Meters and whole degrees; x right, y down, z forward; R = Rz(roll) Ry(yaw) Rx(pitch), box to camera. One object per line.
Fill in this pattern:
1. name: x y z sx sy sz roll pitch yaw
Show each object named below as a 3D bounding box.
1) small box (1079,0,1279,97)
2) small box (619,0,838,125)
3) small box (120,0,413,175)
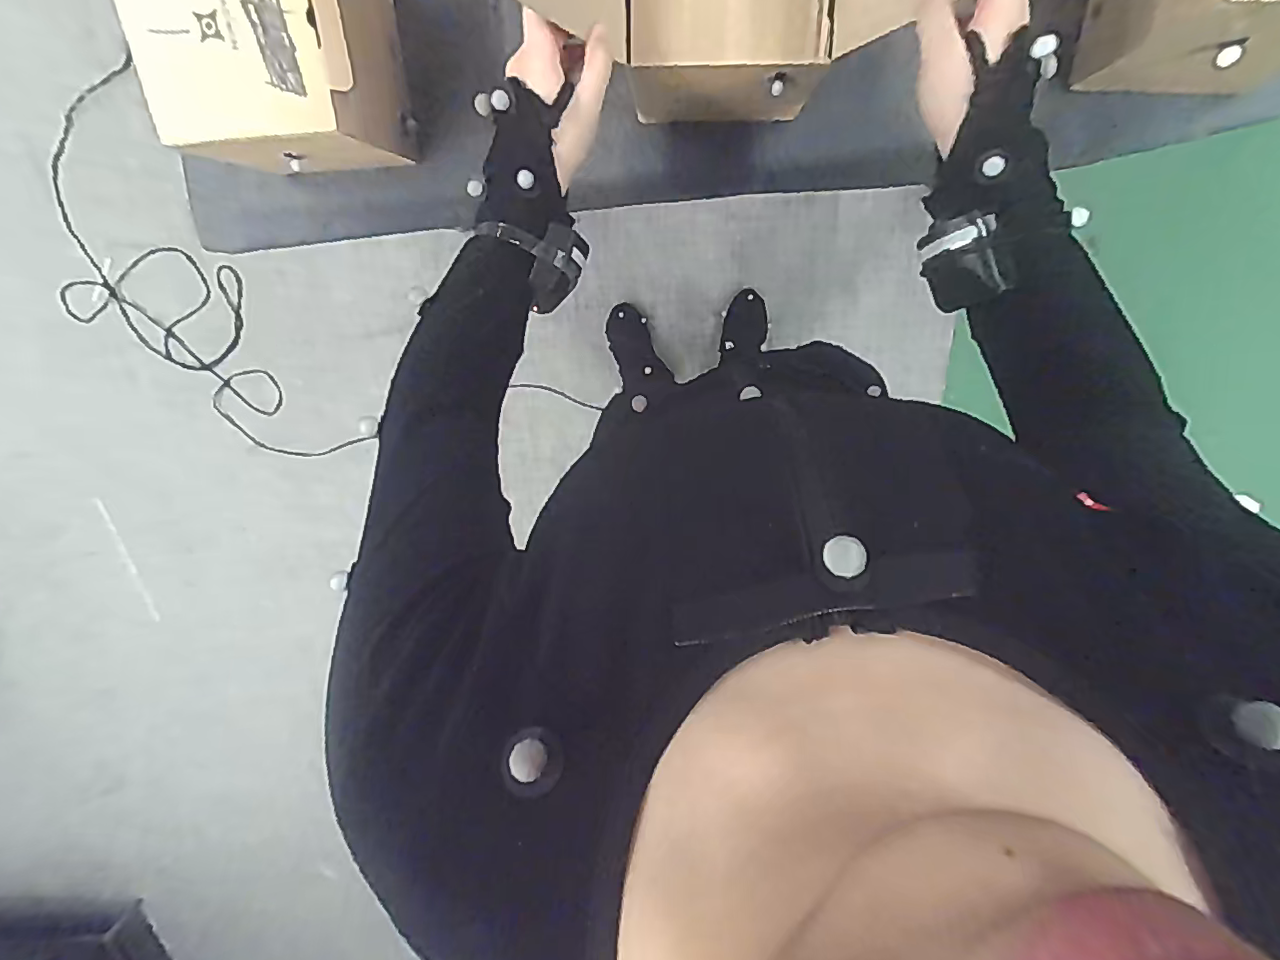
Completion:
1. small box: 0.524 -0.444 0.450 0.179 0.176 0.168 4 107 4
2. small box: 0.077 -0.441 0.493 0.179 0.176 0.168 1 110 4
3. small box: -0.347 -0.411 0.536 0.179 0.176 0.168 -1 112 5
